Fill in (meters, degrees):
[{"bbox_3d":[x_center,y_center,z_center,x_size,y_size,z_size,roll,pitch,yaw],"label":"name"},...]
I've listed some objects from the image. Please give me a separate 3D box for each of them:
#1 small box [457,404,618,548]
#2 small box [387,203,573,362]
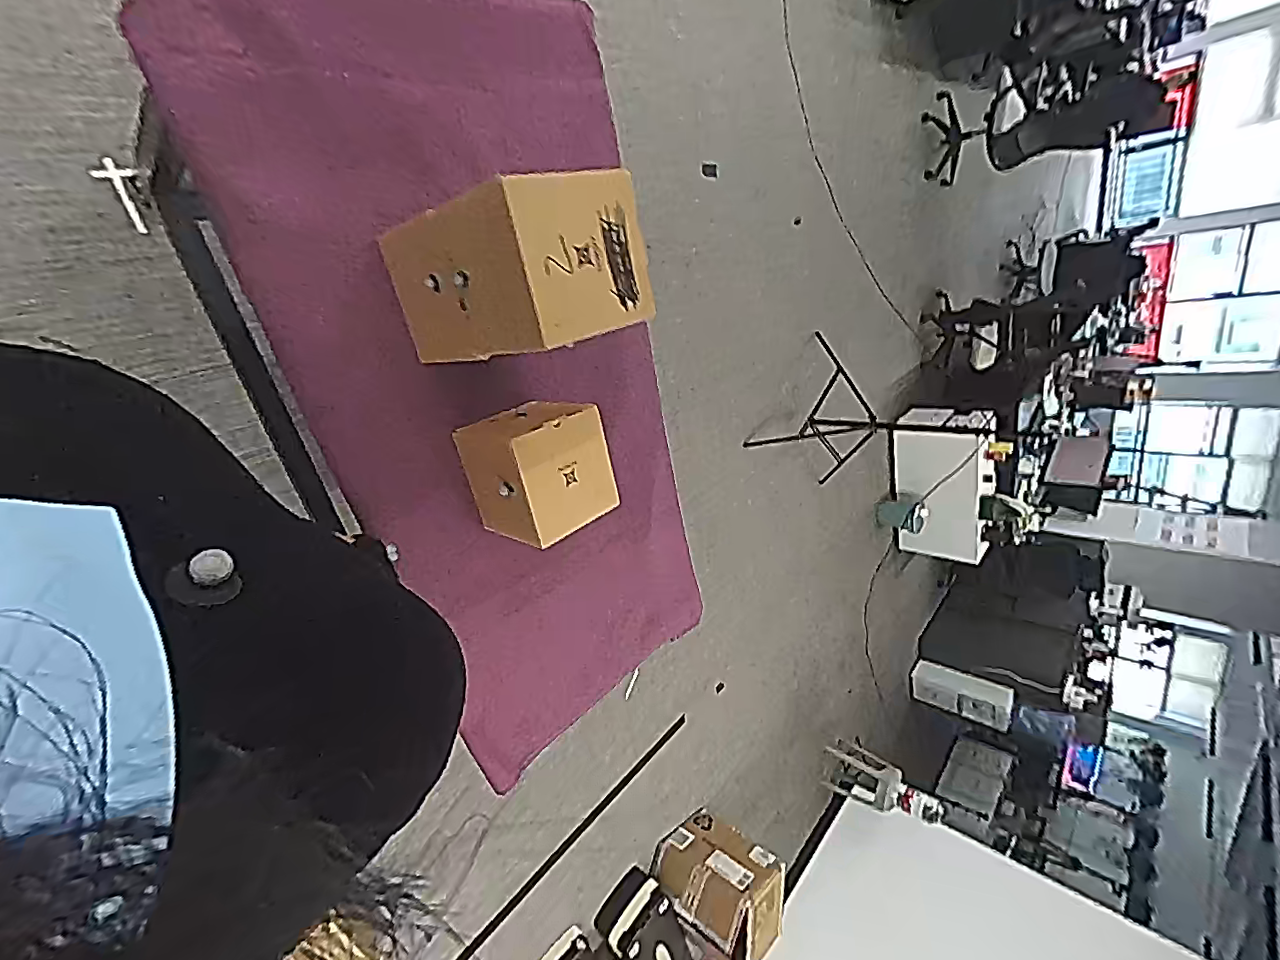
[{"bbox_3d":[-0.165,-0.017,0.873,0.168,0.176,0.179,-30,116,-39],"label":"small box"},{"bbox_3d":[-0.226,-0.273,0.763,0.168,0.176,0.179,-30,118,-38],"label":"small box"}]
